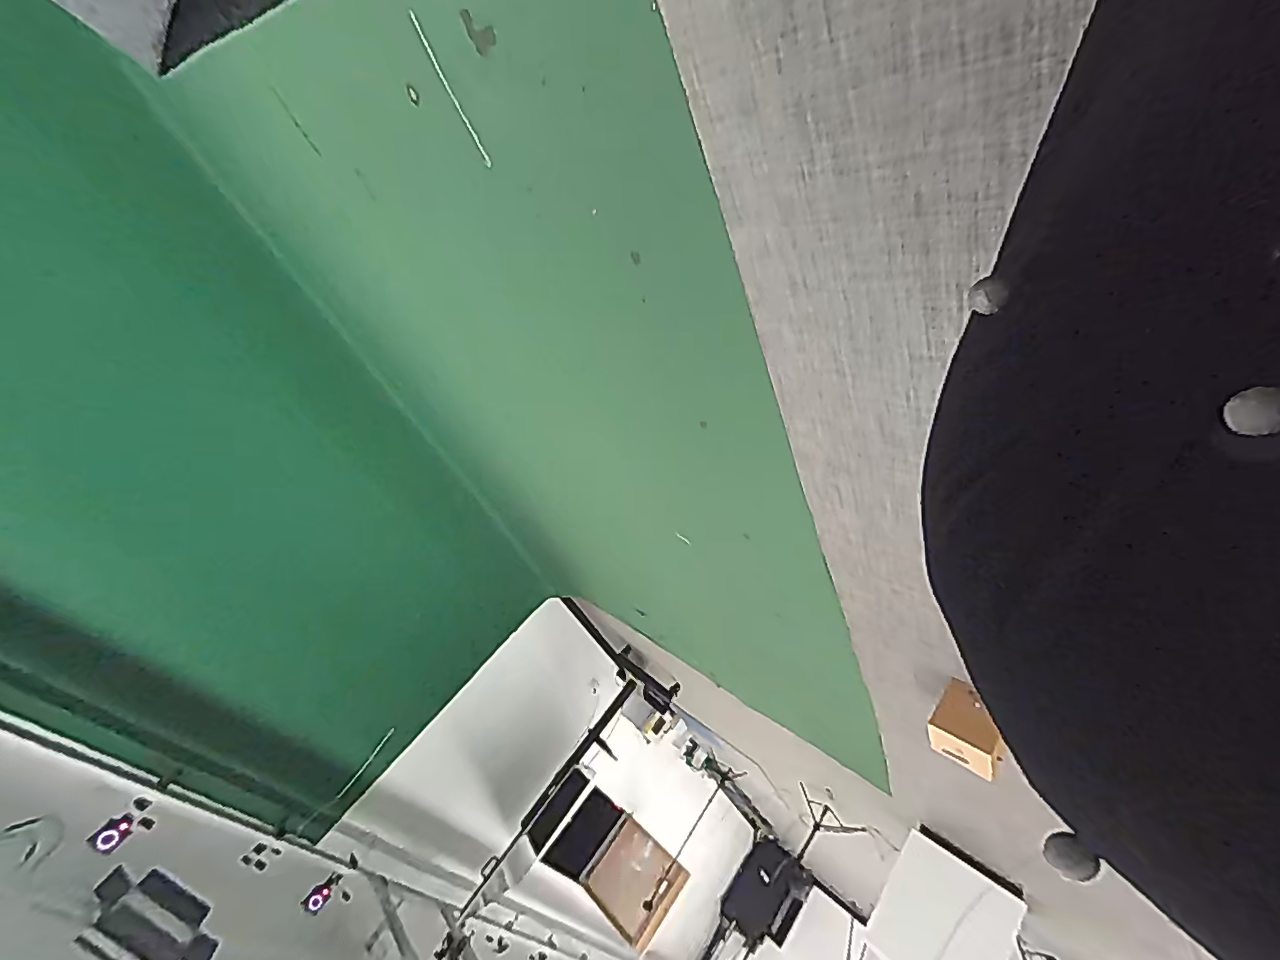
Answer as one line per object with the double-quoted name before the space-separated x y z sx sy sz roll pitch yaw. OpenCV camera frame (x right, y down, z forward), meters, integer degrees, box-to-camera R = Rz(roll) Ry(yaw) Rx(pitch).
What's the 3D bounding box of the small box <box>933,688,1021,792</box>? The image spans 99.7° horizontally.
"small box" 0.962 0.735 1.541 0.168 0.176 0.179 19 145 46
